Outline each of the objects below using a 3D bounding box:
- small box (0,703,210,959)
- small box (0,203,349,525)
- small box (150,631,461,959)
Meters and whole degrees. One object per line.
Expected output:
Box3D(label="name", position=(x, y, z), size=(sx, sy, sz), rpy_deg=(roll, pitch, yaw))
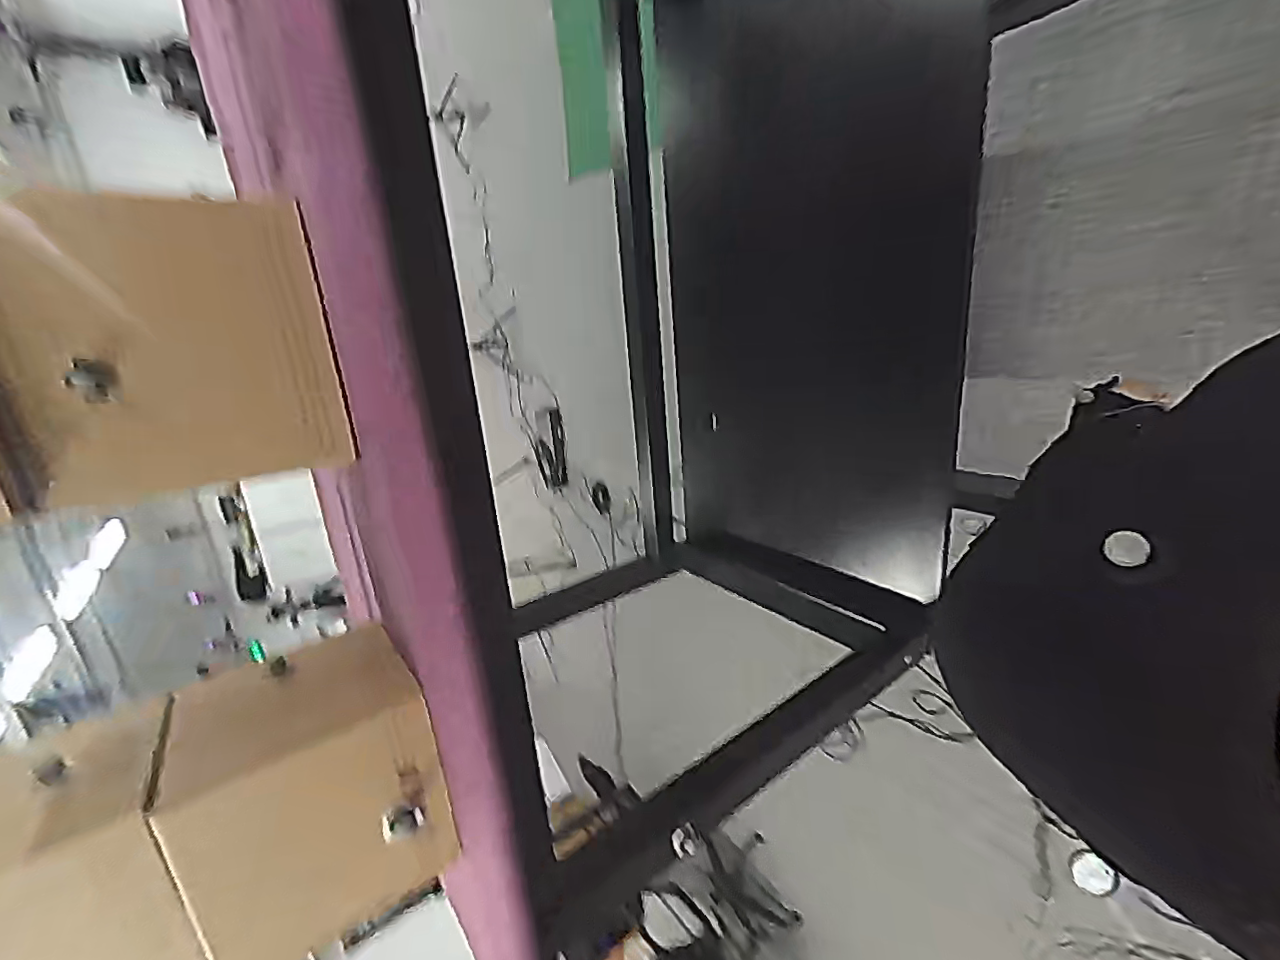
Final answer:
Box3D(label="small box", position=(-0.402, 0.295, 0.370), size=(0.168, 0.176, 0.179), rpy_deg=(10, 112, 53))
Box3D(label="small box", position=(-0.324, -0.090, 0.387), size=(0.168, 0.176, 0.179), rpy_deg=(18, 118, 53))
Box3D(label="small box", position=(-0.270, 0.249, 0.457), size=(0.179, 0.176, 0.168), rpy_deg=(10, 113, 52))
